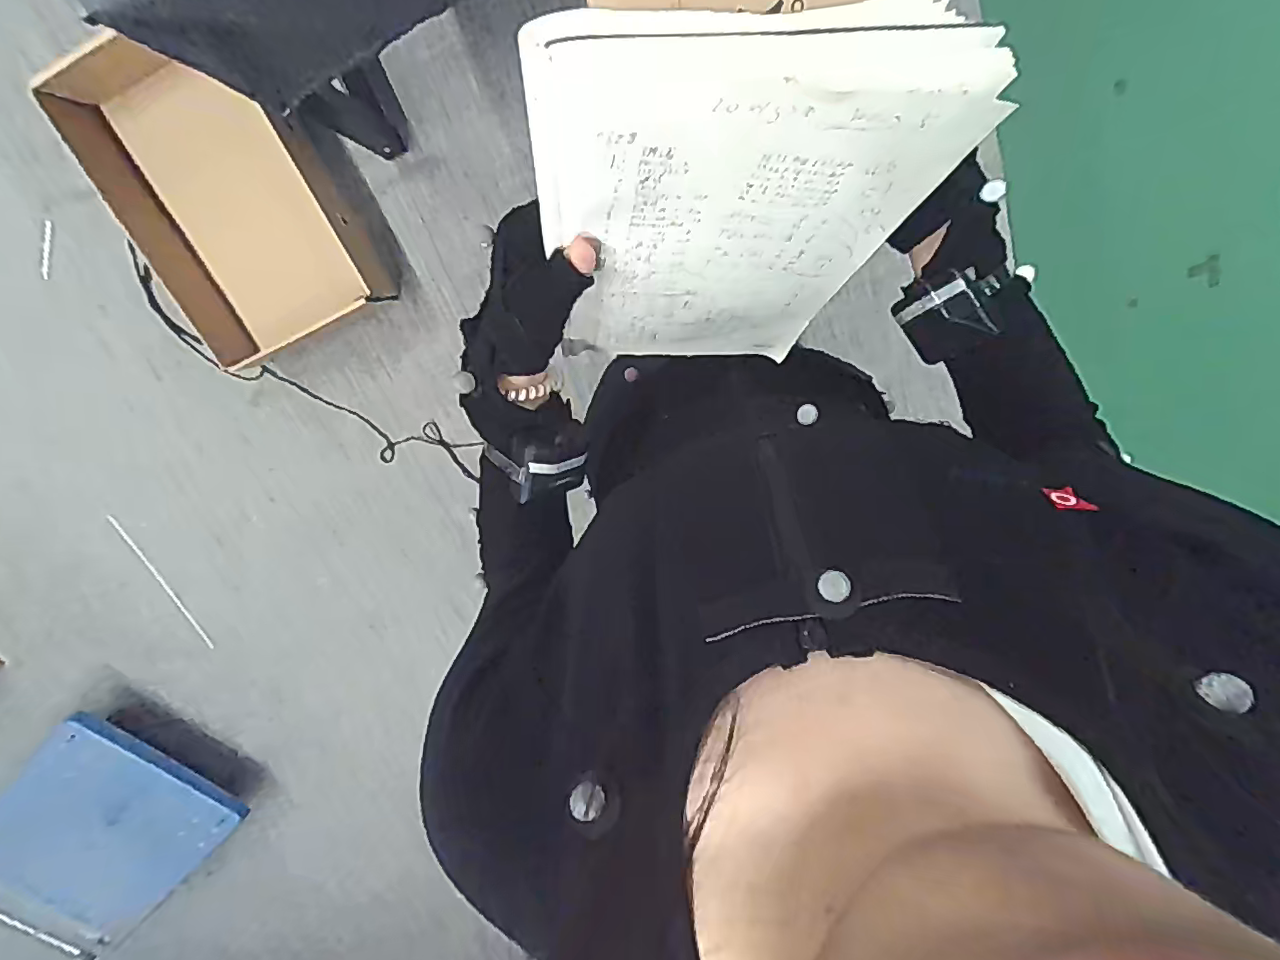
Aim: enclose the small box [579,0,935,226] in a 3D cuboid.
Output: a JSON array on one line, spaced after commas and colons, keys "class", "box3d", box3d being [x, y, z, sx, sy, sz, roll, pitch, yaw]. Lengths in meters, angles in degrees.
[{"class": "small box", "box3d": [0.057, -0.268, 0.341, 0.179, 0.176, 0.168, -10, 118, 1]}]
